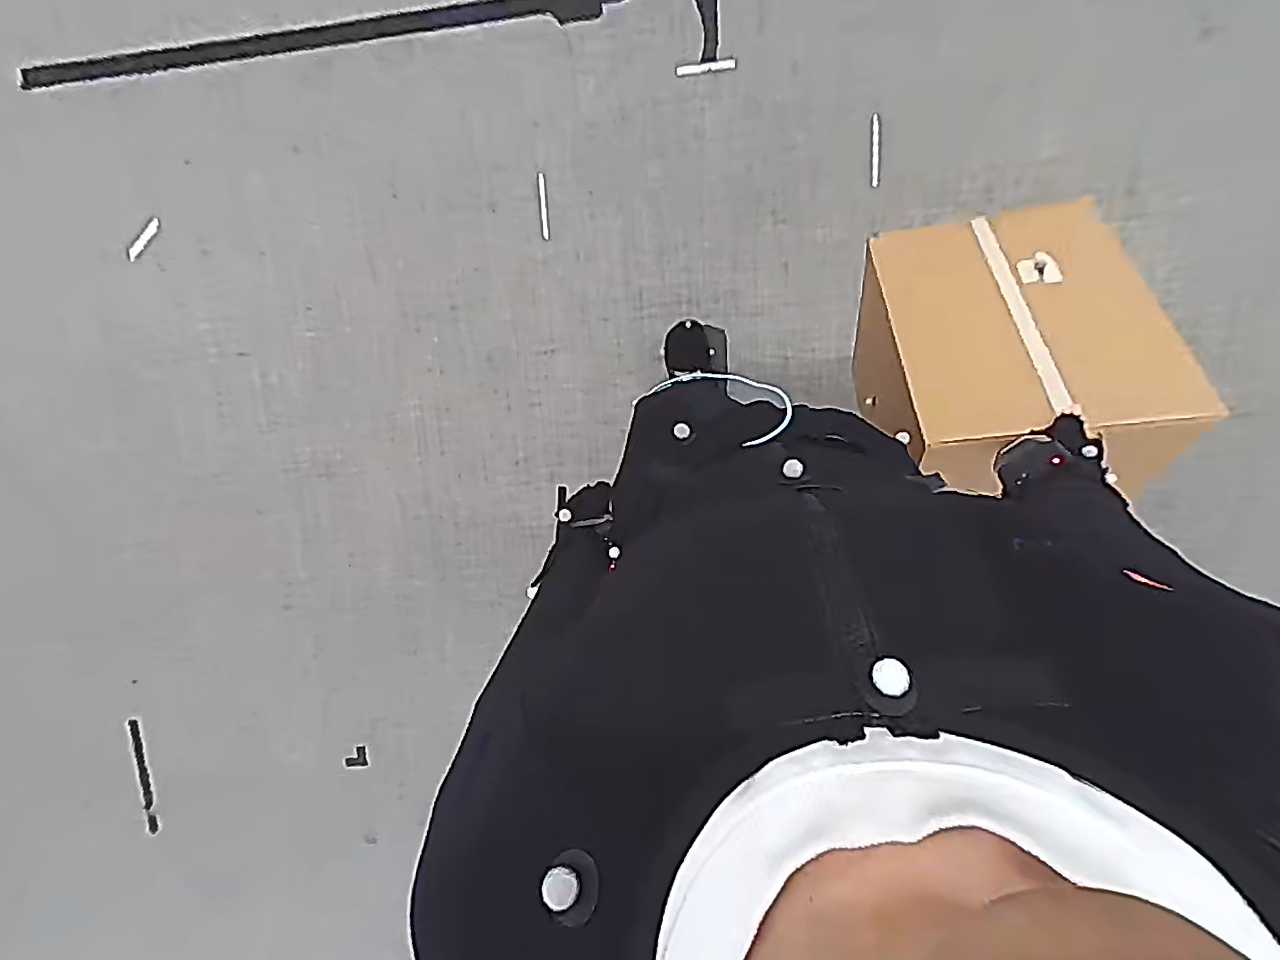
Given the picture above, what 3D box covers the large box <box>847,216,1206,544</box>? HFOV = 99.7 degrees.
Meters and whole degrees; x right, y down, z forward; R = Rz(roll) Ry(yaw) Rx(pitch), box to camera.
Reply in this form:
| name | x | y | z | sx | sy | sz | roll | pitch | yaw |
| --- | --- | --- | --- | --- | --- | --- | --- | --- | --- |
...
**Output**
| name | x | y | z | sx | sy | sz | roll | pitch | yaw |
| --- | --- | --- | --- | --- | --- | --- | --- | --- | --- |
| large box | 0.544 | -0.148 | 0.880 | 0.320 | 0.320 | 0.408 | -5 | 57 | 10 |
